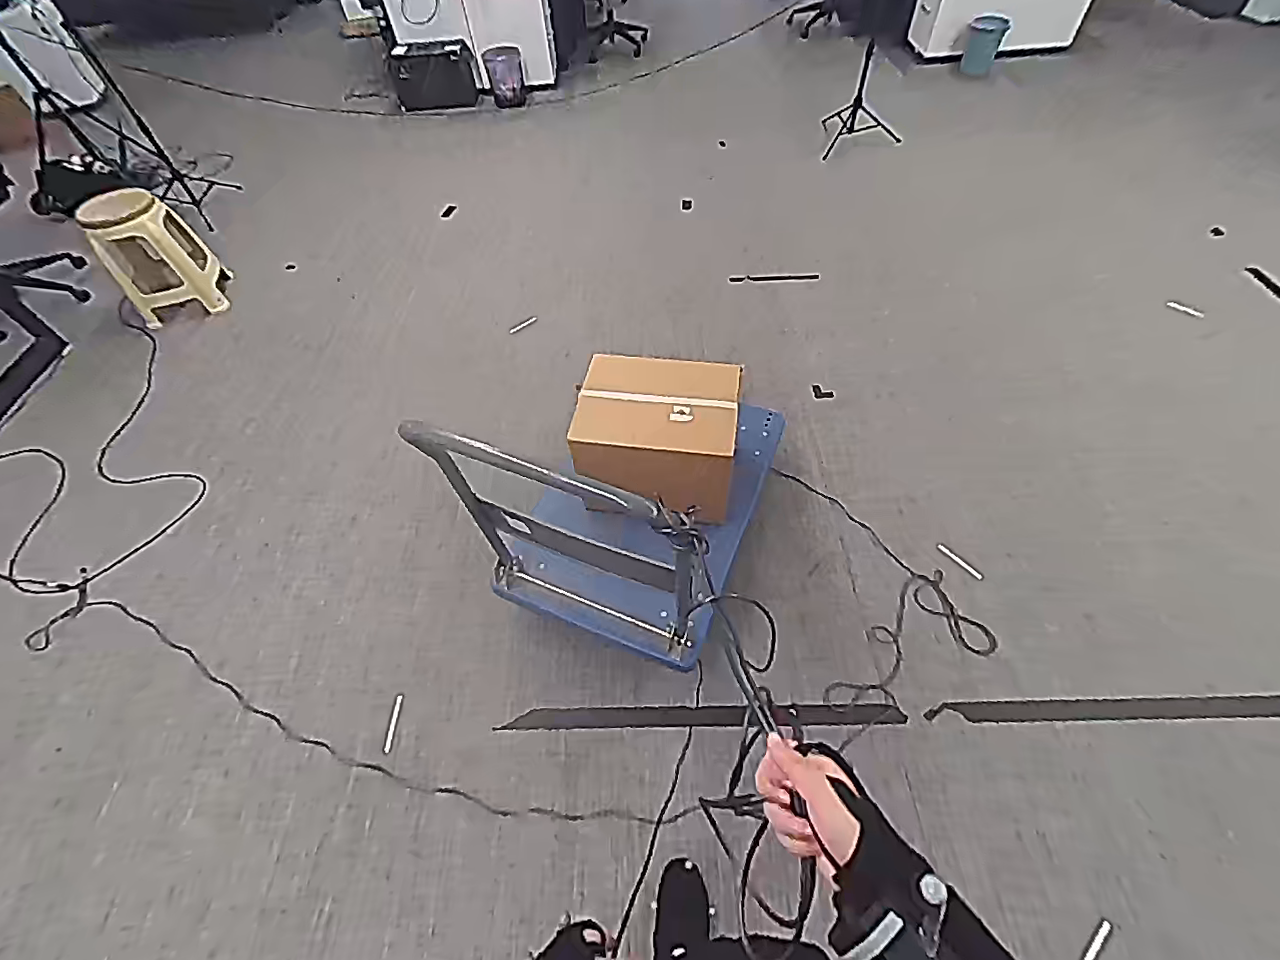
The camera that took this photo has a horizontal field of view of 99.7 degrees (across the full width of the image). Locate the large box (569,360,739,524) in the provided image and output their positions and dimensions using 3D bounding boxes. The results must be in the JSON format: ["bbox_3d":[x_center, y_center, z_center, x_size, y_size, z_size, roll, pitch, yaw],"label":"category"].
[{"bbox_3d":[0.047,-0.101,1.483,0.408,0.320,0.320,6,55,7],"label":"large box"}]
